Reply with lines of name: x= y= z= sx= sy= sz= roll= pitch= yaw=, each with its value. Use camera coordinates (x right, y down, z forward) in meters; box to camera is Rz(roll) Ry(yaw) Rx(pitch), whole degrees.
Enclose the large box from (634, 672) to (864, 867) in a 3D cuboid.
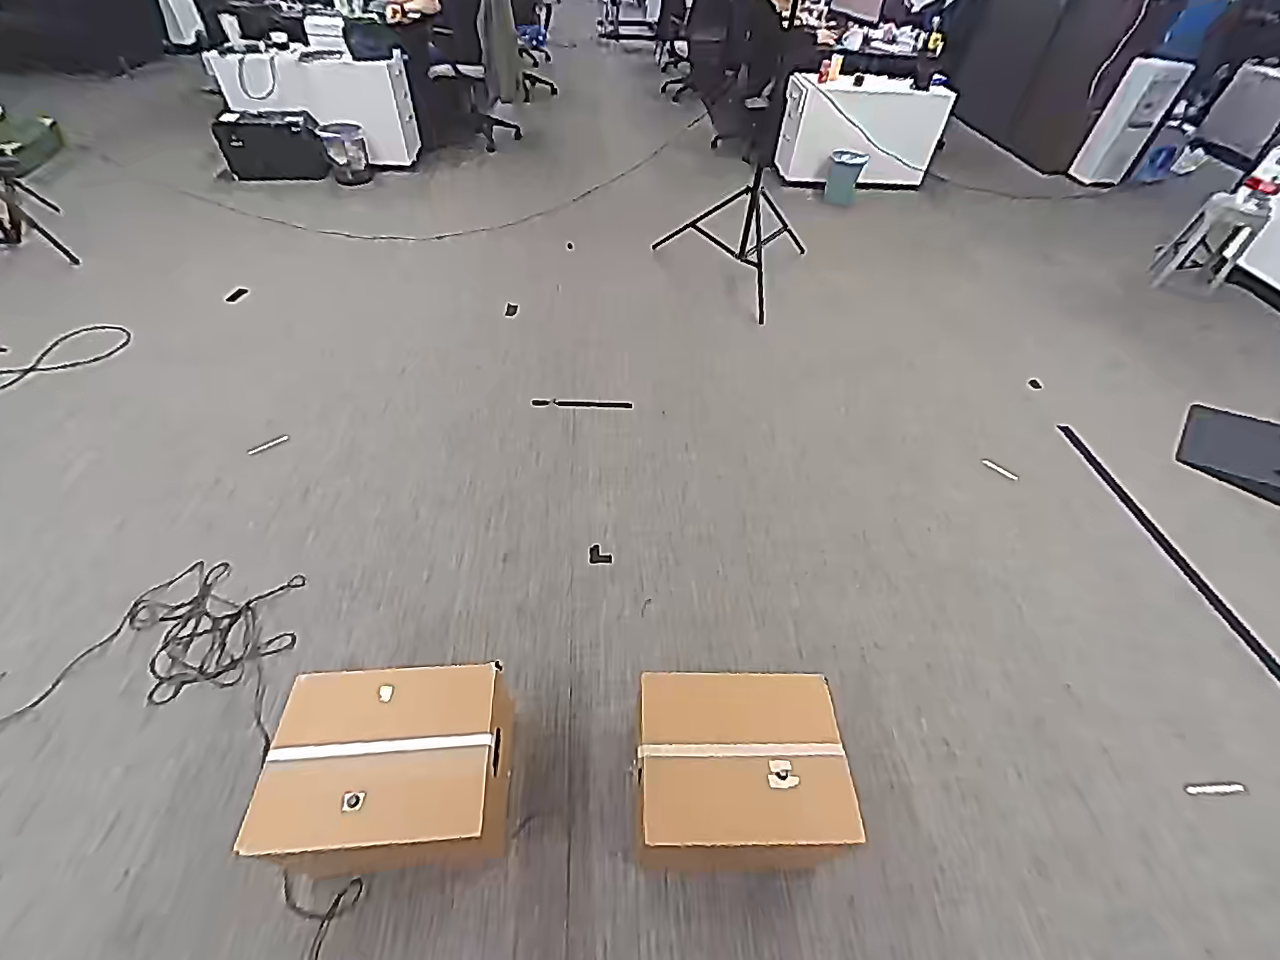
large box: x=0.199 y=0.633 z=1.182 sx=0.408 sy=0.320 sz=0.320 roll=2 pitch=48 yaw=-4
